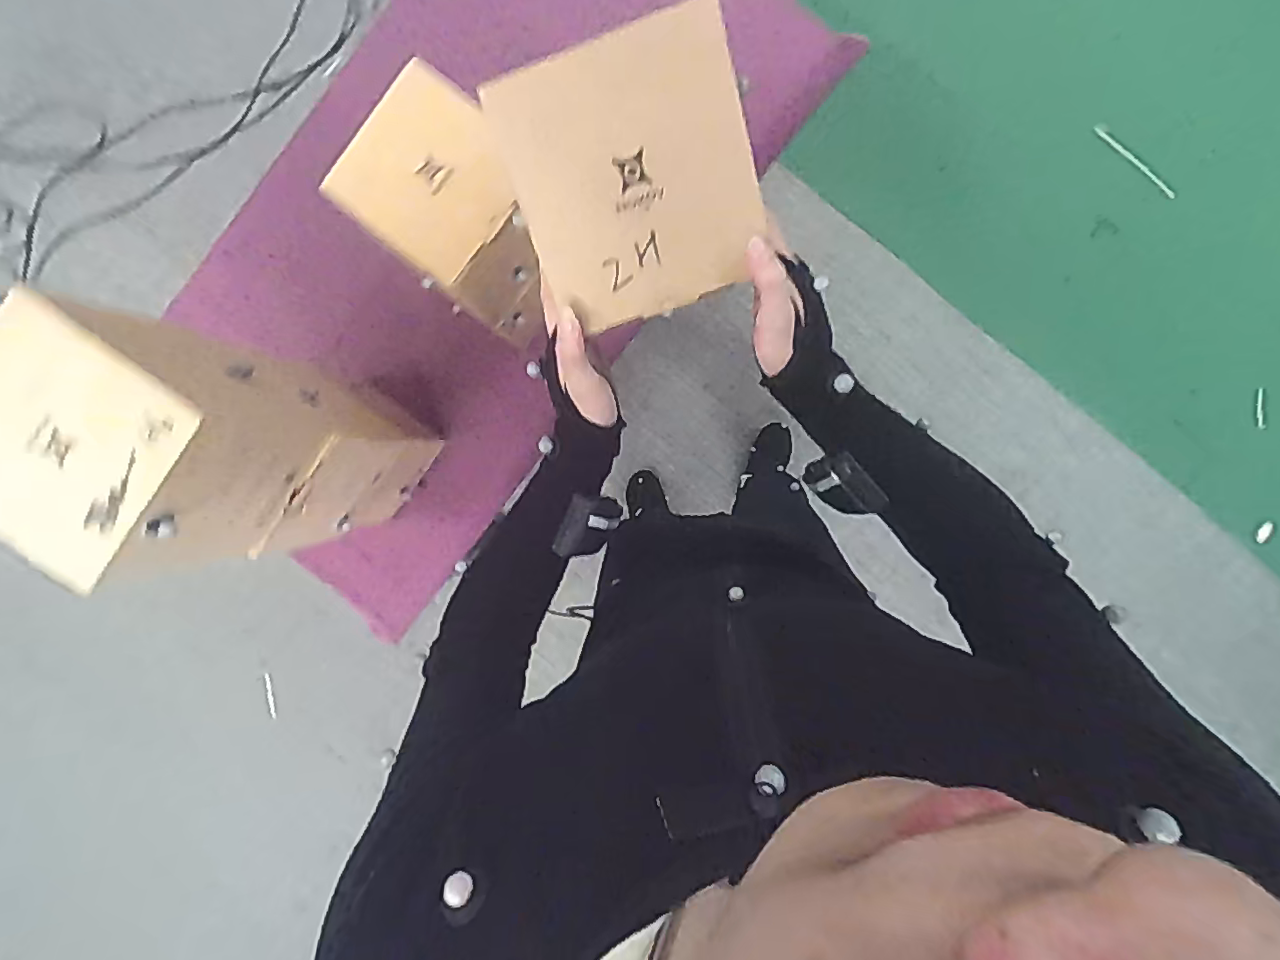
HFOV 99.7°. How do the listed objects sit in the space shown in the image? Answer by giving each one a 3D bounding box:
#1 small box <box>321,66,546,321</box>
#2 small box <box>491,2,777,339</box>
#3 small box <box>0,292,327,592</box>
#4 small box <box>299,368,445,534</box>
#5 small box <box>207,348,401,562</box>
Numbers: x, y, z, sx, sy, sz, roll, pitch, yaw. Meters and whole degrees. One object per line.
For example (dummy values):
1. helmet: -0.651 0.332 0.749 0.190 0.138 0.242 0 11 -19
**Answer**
1. small box: -0.216 -0.314 0.638 0.179 0.176 0.168 37 92 -1
2. small box: 0.002 -0.235 0.454 0.168 0.176 0.179 -15 111 9
3. small box: -0.438 -0.029 0.486 0.179 0.176 0.168 36 93 1
4. small box: -0.434 -0.040 0.813 0.179 0.176 0.168 36 92 -1
5. small box: -0.429 -0.030 0.650 0.179 0.176 0.168 36 92 1
